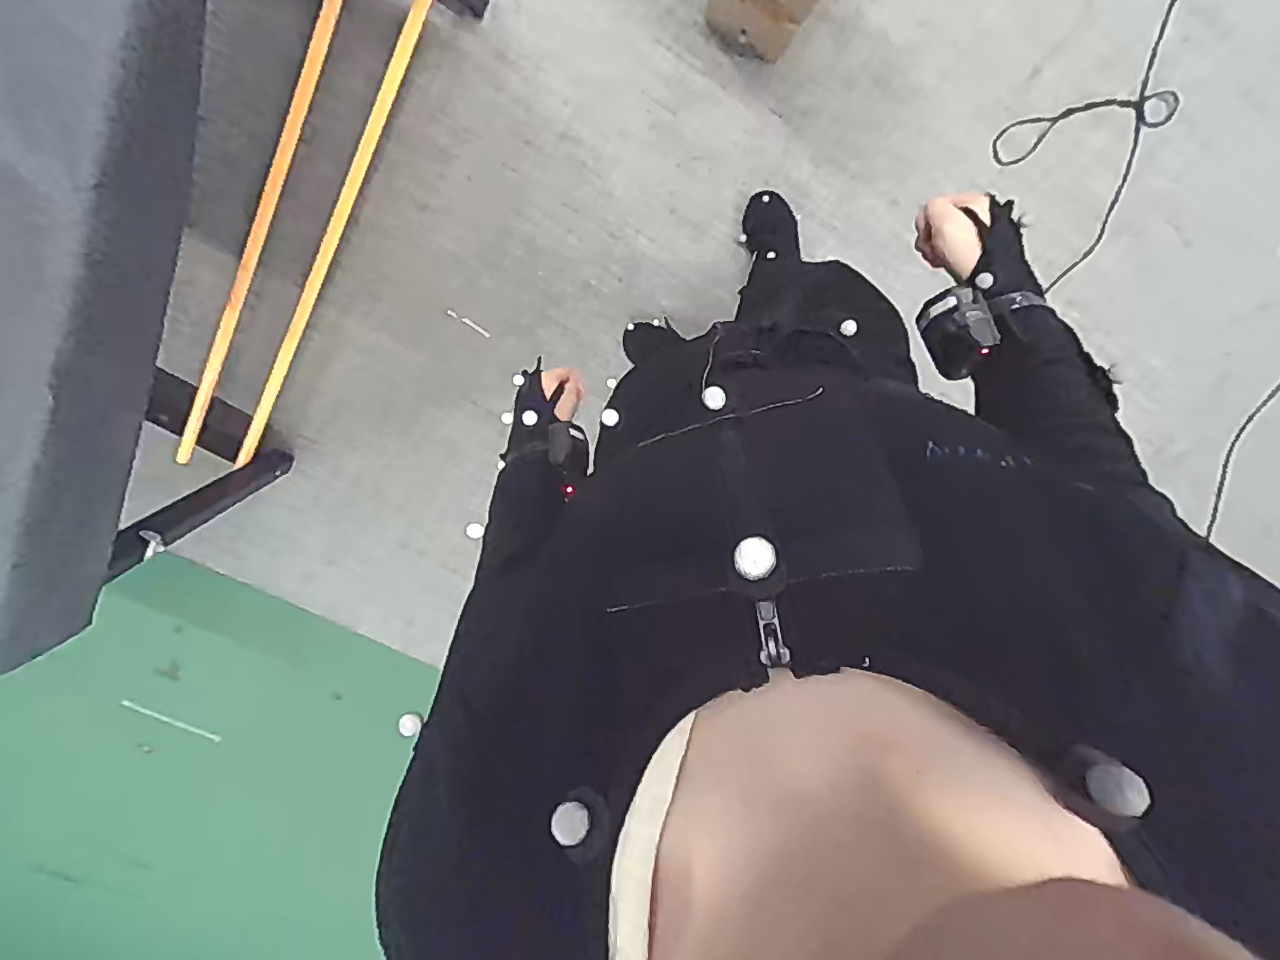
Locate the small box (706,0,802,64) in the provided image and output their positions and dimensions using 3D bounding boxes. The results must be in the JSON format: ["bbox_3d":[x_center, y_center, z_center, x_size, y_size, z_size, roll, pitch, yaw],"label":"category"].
[{"bbox_3d":[0.227,-0.890,0.951,0.168,0.176,0.179,25,110,-9],"label":"small box"}]

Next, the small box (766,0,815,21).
[{"bbox_3d":[0.234,-0.838,0.795,0.168,0.176,0.179,25,109,-10],"label":"small box"}]
